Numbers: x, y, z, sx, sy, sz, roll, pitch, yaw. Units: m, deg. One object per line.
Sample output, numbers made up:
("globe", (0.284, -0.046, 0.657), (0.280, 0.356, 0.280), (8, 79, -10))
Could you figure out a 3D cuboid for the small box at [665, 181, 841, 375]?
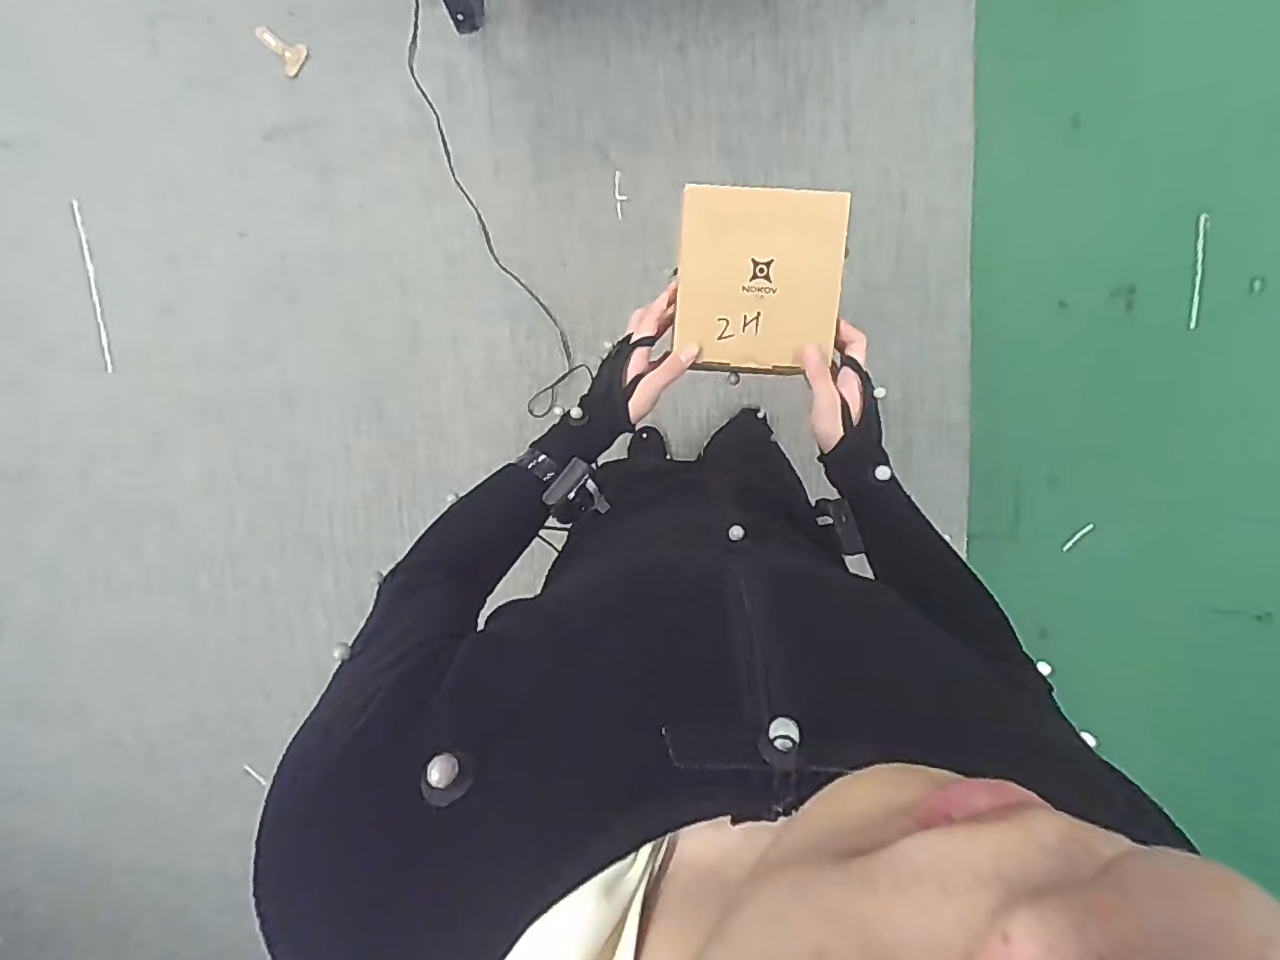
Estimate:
("small box", (0.117, -0.219, 0.629), (0.168, 0.176, 0.179), (4, 99, 2))
